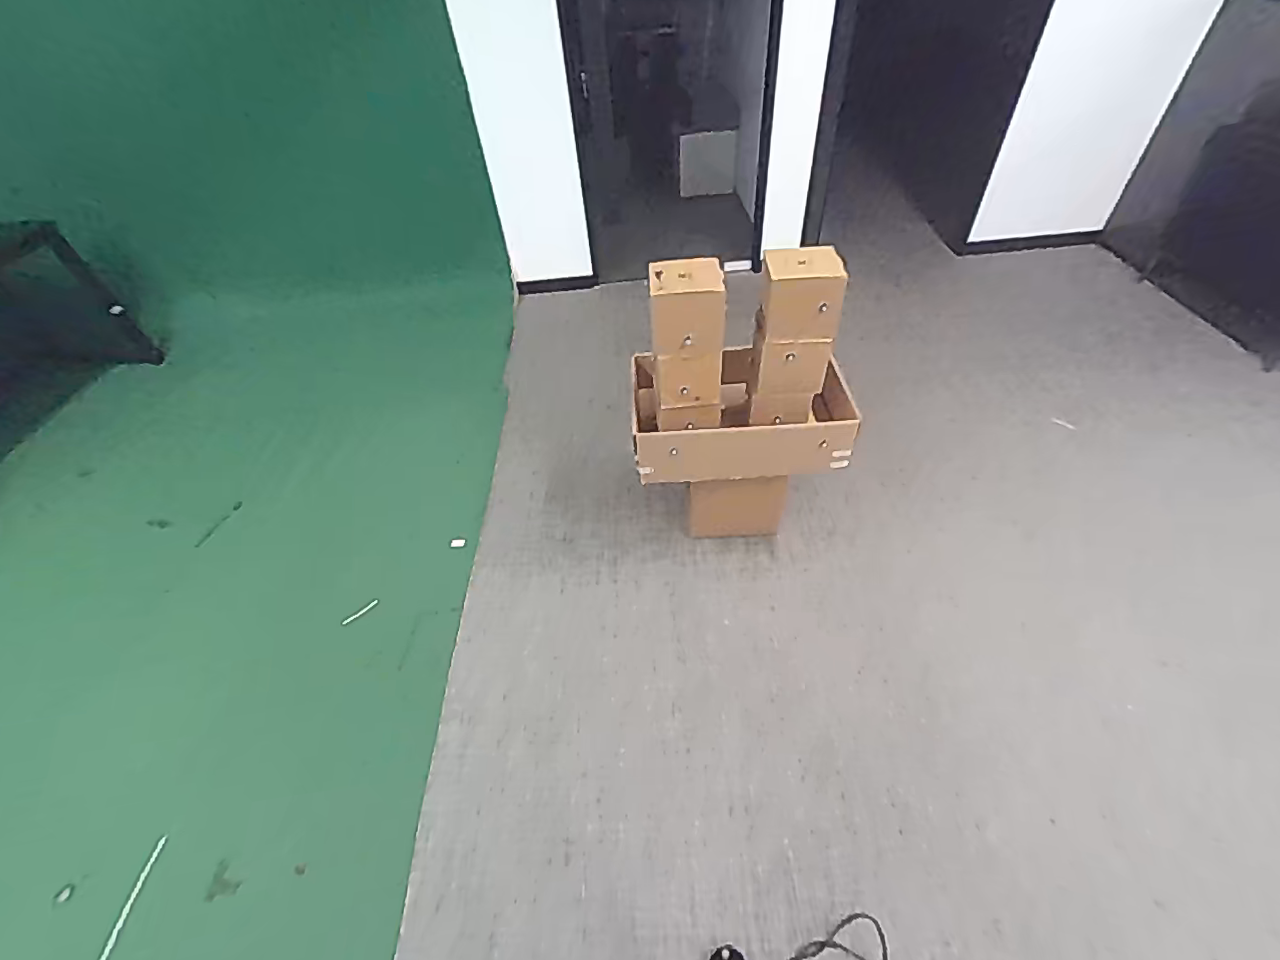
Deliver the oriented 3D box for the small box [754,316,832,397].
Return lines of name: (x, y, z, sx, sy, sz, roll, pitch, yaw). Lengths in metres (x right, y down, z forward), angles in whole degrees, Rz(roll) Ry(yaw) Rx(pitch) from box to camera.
small box: (0.406, -0.338, 1.473, 0.179, 0.176, 0.168, -1, 46, 4)

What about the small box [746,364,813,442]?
small box: (0.405, -0.225, 1.593, 0.168, 0.176, 0.179, 0, 46, 6)

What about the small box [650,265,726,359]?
small box: (0.115, -0.419, 1.356, 0.179, 0.176, 0.168, -2, 46, 3)

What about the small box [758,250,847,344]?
small box: (0.400, -0.458, 1.363, 0.179, 0.176, 0.168, -2, 45, 5)
